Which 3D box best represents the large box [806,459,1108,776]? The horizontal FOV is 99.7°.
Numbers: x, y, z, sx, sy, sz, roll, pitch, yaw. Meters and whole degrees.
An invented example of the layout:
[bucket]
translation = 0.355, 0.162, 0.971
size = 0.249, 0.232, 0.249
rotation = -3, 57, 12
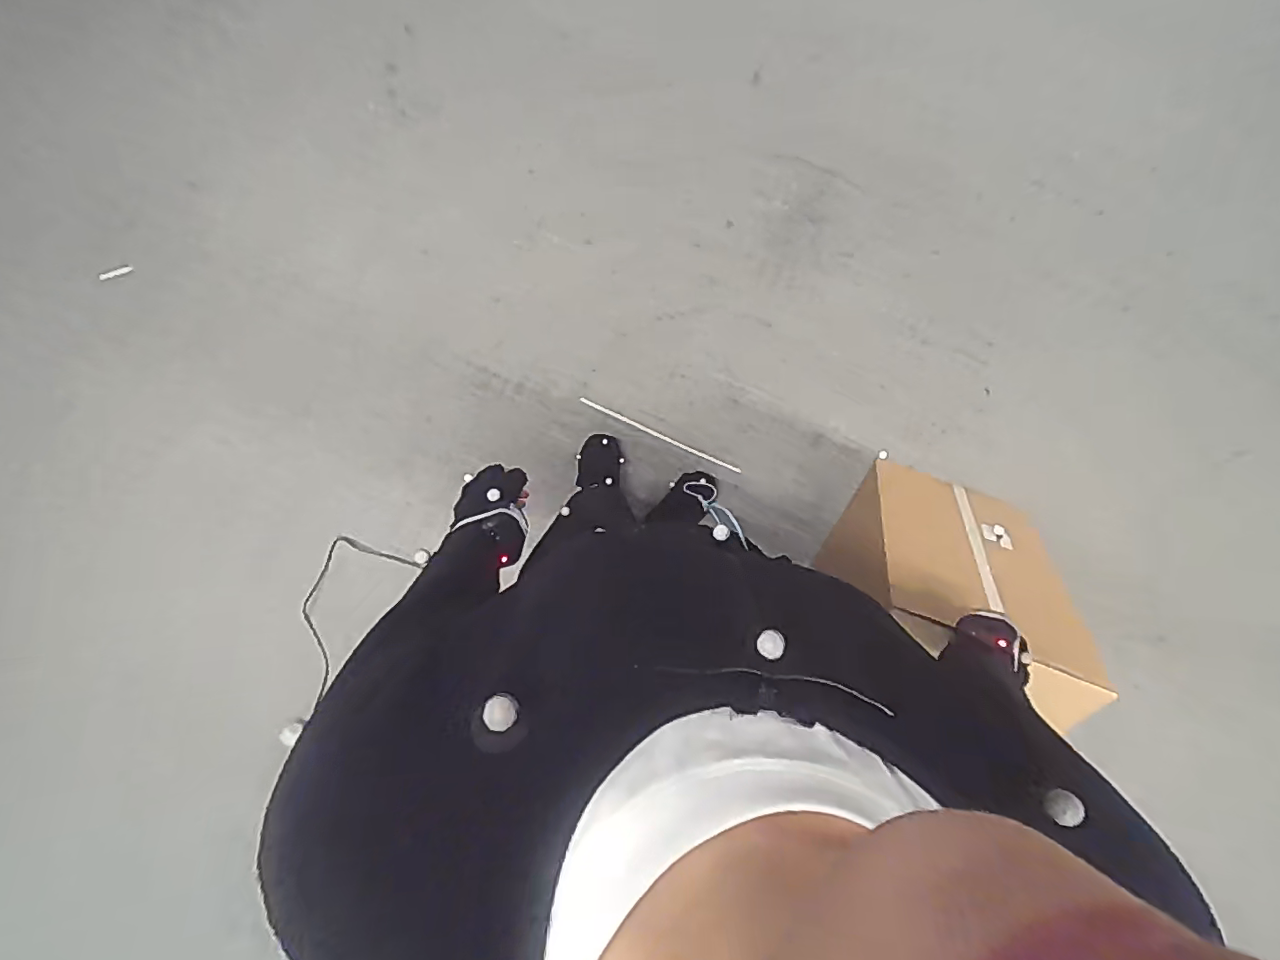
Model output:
[large box]
translation = 0.508, 0.229, 0.981
size = 0.320, 0.408, 0.320
rotation = 21, 127, 6
